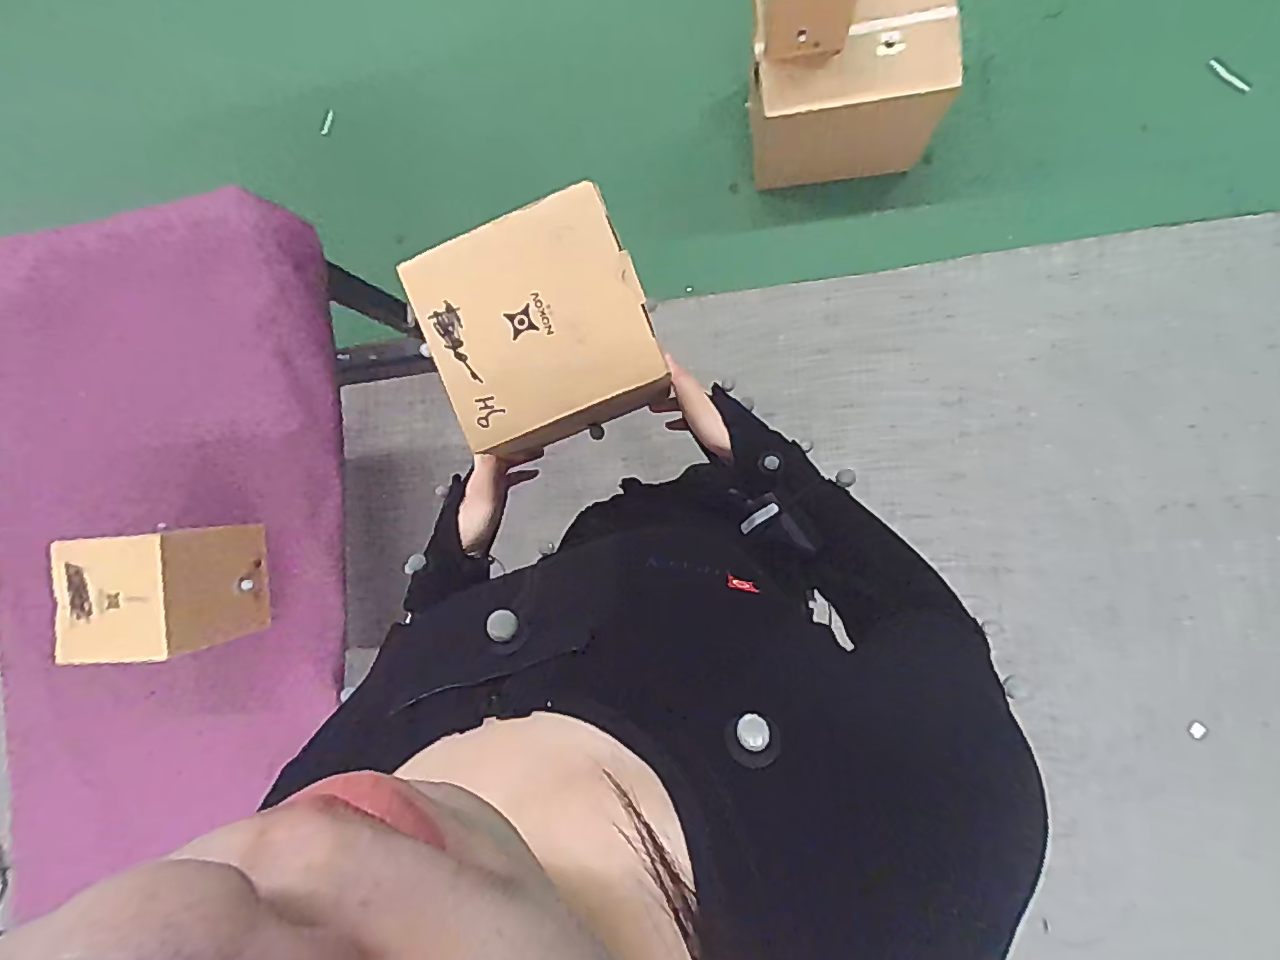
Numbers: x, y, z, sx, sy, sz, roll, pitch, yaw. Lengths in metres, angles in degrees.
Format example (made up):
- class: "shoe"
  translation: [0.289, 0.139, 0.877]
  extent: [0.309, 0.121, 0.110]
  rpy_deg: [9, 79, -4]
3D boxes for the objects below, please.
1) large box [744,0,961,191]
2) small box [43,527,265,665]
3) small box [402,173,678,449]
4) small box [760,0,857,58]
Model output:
- class: "large box"
  translation: [0.470, -0.940, 1.281]
  extent: [0.408, 0.320, 0.320]
  rpy_deg: [-4, 90, 7]
- class: "small box"
  translation: [-0.690, 0.159, 0.783]
  extent: [0.179, 0.176, 0.168]
  rpy_deg: [-4, 90, 8]
- class: "small box"
  translation: [-0.076, -0.134, 0.498]
  extent: [0.179, 0.176, 0.168]
  rpy_deg: [-21, 90, 3]
- class: "small box"
  translation: [0.327, -0.983, 1.057]
  extent: [0.168, 0.176, 0.179]
  rpy_deg: [-4, 89, 8]
